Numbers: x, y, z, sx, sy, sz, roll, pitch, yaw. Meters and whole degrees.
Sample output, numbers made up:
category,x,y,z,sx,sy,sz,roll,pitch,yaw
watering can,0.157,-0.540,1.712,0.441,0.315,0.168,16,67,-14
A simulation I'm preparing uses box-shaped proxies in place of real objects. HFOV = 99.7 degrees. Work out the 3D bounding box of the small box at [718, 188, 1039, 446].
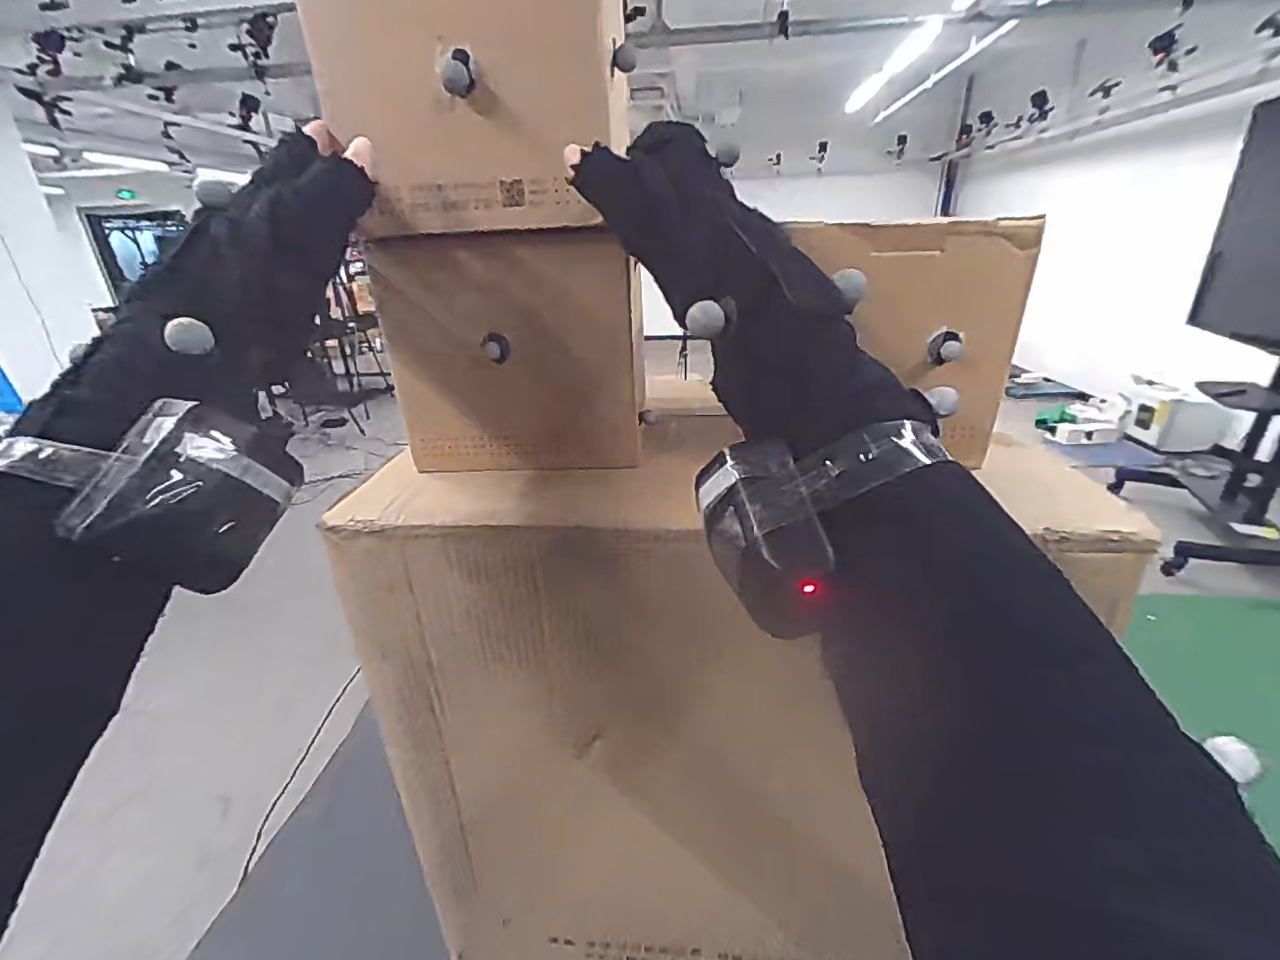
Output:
category,x,y,z,sx,sy,sz,roll,pitch,yaw
small box,0.157,-0.132,0.429,0.168,0.176,0.179,-1,27,-1

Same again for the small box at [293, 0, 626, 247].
category,x,y,z,sx,sy,sz,roll,pitch,yaw
small box,-0.099,-0.259,0.378,0.168,0.176,0.179,-1,26,4
